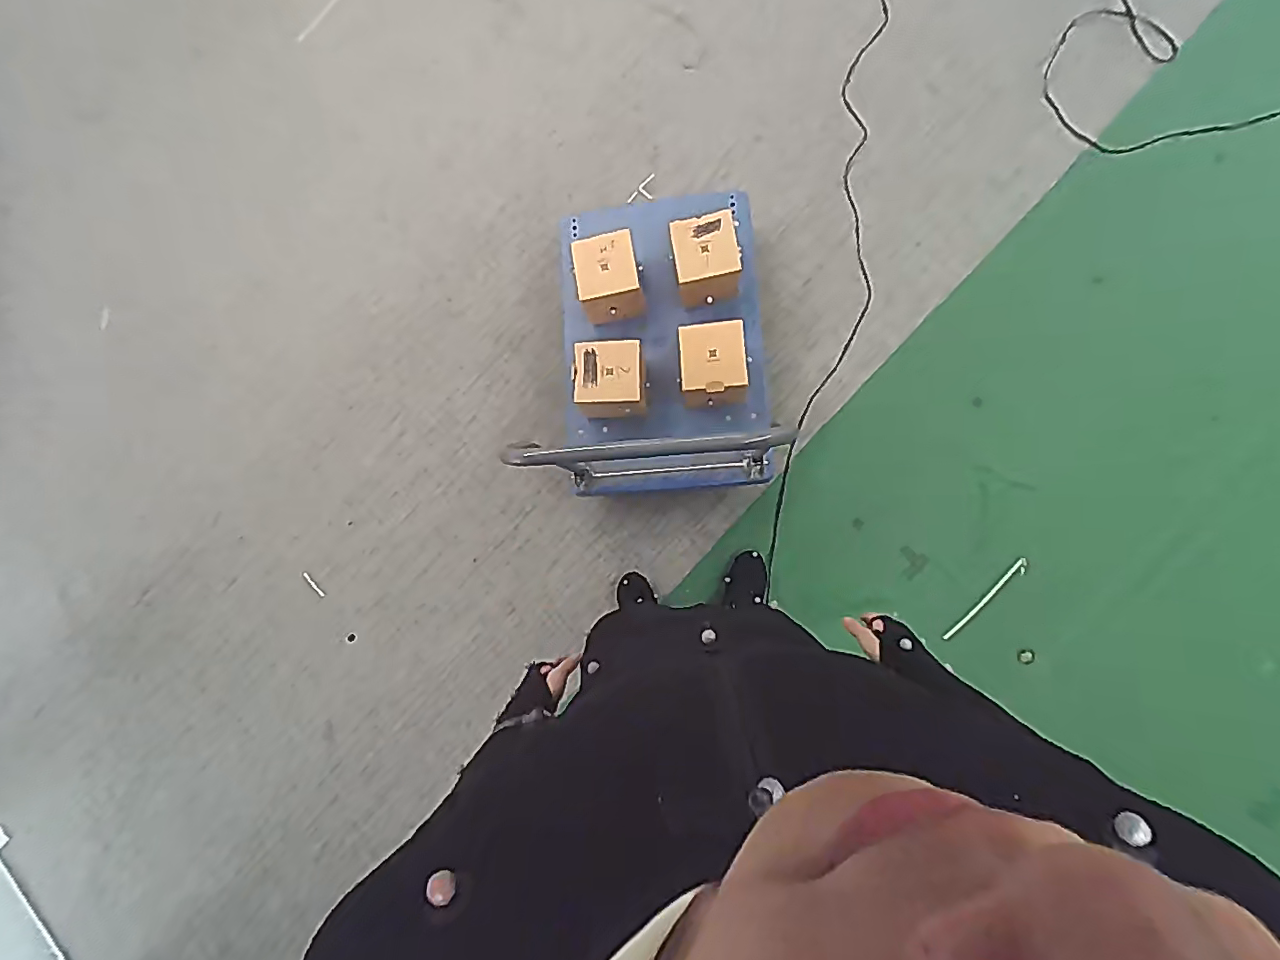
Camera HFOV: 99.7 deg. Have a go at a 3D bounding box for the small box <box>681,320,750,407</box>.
[{"bbox_3d":[0.199,-0.305,1.444,0.168,0.176,0.179,-5,83,7],"label":"small box"}]

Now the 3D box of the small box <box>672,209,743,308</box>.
[{"bbox_3d":[0.185,-0.598,1.480,0.168,0.176,0.179,-10,83,8],"label":"small box"}]

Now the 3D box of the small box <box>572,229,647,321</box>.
[{"bbox_3d":[-0.080,-0.563,1.513,0.168,0.176,0.179,-10,82,6],"label":"small box"}]
